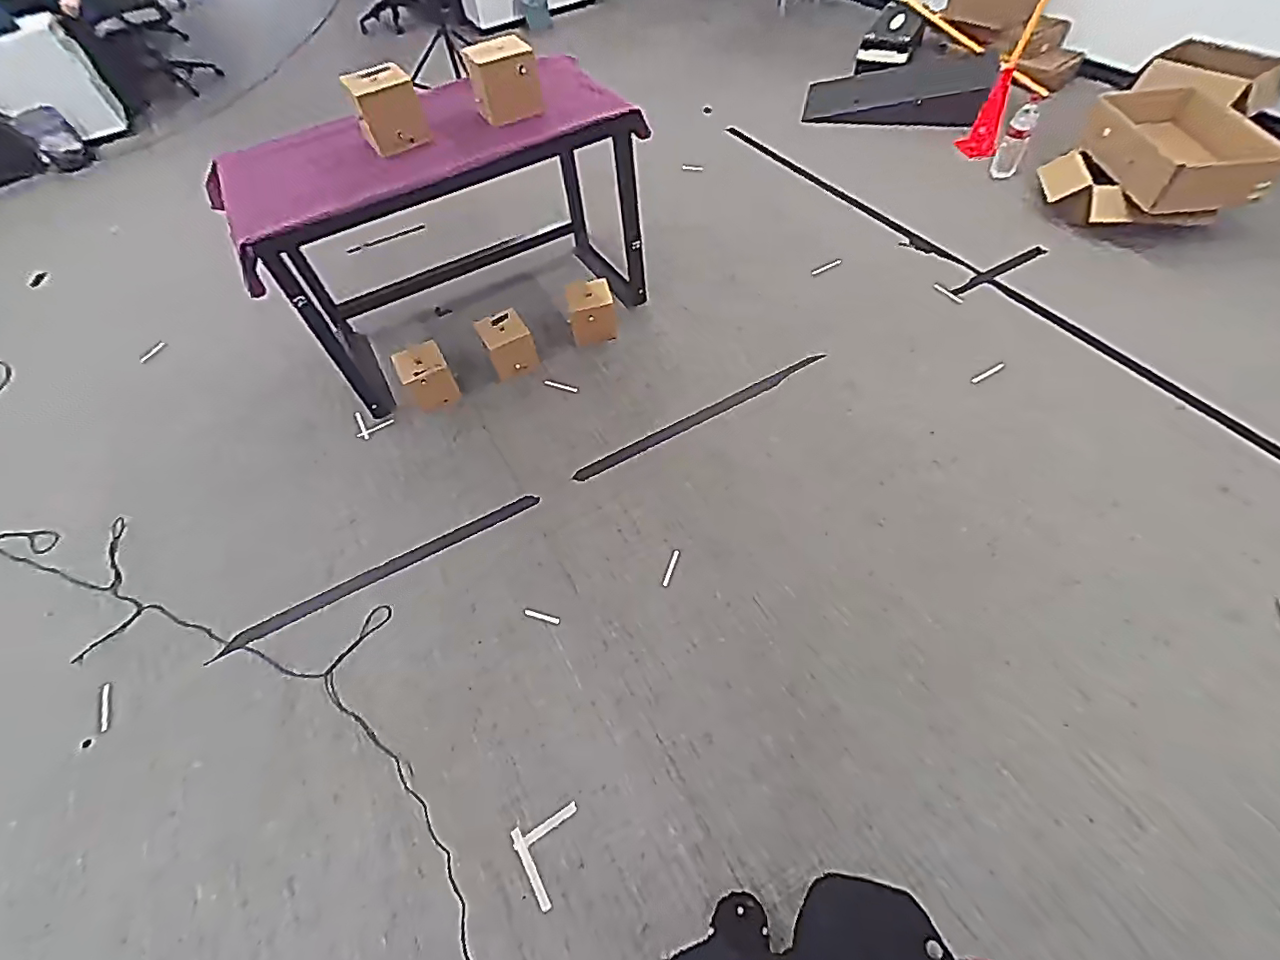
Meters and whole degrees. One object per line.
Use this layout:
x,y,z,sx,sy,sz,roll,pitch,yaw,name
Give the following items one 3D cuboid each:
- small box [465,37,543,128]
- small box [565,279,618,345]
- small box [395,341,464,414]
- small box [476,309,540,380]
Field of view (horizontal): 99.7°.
-0.414,-1.232,1.679,0.179,0.176,0.168,-26,56,-12,small box
-0.190,-0.667,2.158,0.179,0.176,0.168,-14,56,-3,small box
-0.784,-0.381,2.019,0.168,0.176,0.179,-27,56,-13,small box
-0.506,-0.518,2.085,0.168,0.176,0.179,-28,59,-13,small box
